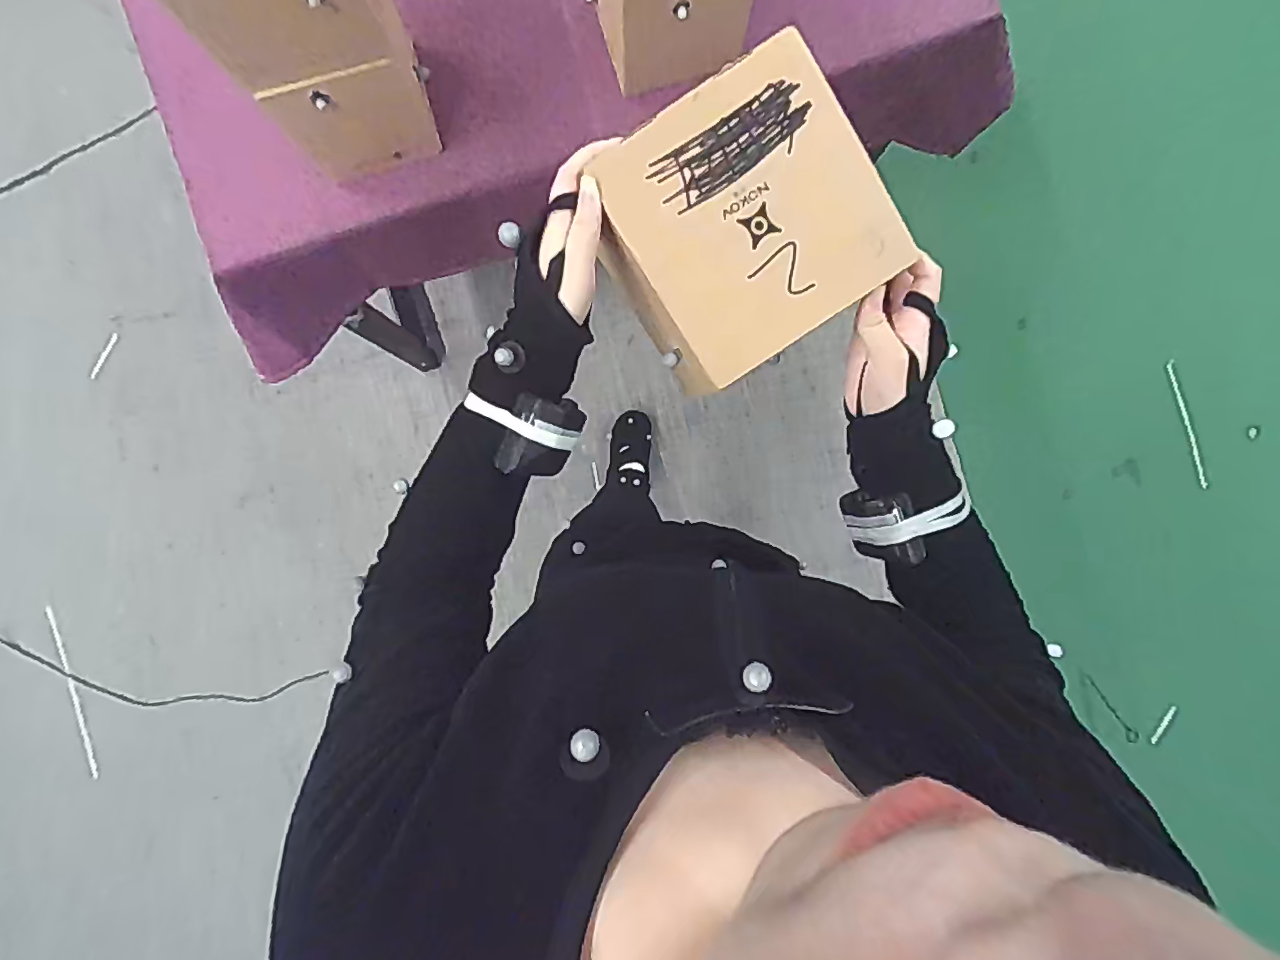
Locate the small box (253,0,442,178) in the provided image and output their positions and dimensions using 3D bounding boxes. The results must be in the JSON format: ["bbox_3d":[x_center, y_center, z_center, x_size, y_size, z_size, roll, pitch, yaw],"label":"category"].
[{"bbox_3d":[-0.380,-0.535,0.696,0.168,0.176,0.179,-16,88,-1],"label":"small box"}]

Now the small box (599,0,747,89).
[{"bbox_3d":[0.038,-0.659,0.704,0.179,0.176,0.168,-17,89,-1],"label":"small box"}]

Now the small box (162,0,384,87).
[{"bbox_3d":[-0.378,-0.539,0.532,0.179,0.176,0.168,-15,88,-1],"label":"small box"}]
